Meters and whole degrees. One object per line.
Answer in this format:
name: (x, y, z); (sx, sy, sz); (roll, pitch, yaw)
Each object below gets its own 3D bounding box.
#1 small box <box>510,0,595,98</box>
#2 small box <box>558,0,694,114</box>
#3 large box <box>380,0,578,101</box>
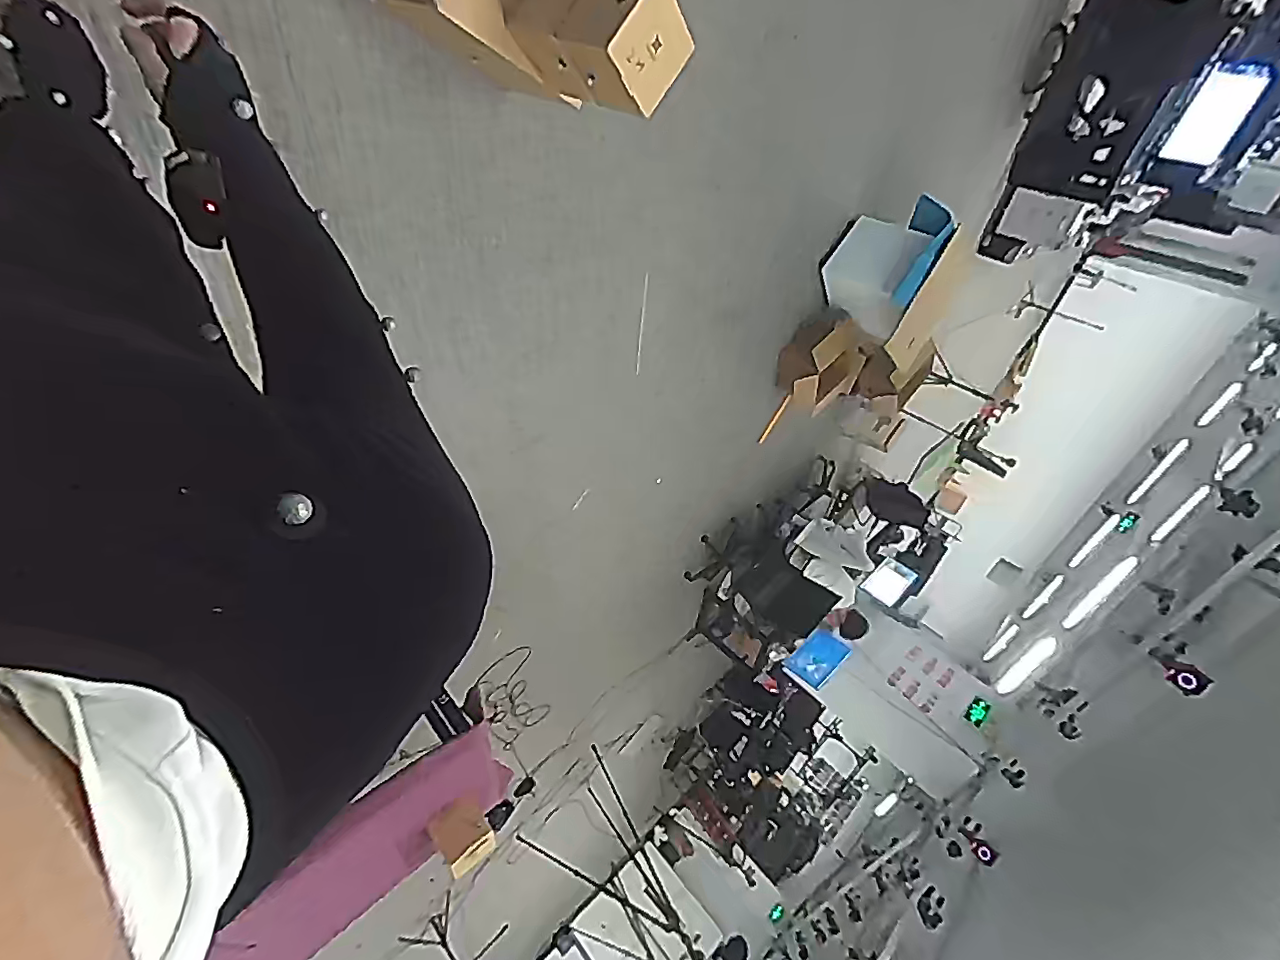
small box: (-0.145, -0.975, 1.159); (0.179, 0.176, 0.168); (-54, 150, 4)
small box: (-0.030, -0.886, 1.079); (0.179, 0.176, 0.168); (-54, 150, 5)
large box: (-0.327, -1.143, 1.223); (0.408, 0.320, 0.320); (-4, 124, -51)
